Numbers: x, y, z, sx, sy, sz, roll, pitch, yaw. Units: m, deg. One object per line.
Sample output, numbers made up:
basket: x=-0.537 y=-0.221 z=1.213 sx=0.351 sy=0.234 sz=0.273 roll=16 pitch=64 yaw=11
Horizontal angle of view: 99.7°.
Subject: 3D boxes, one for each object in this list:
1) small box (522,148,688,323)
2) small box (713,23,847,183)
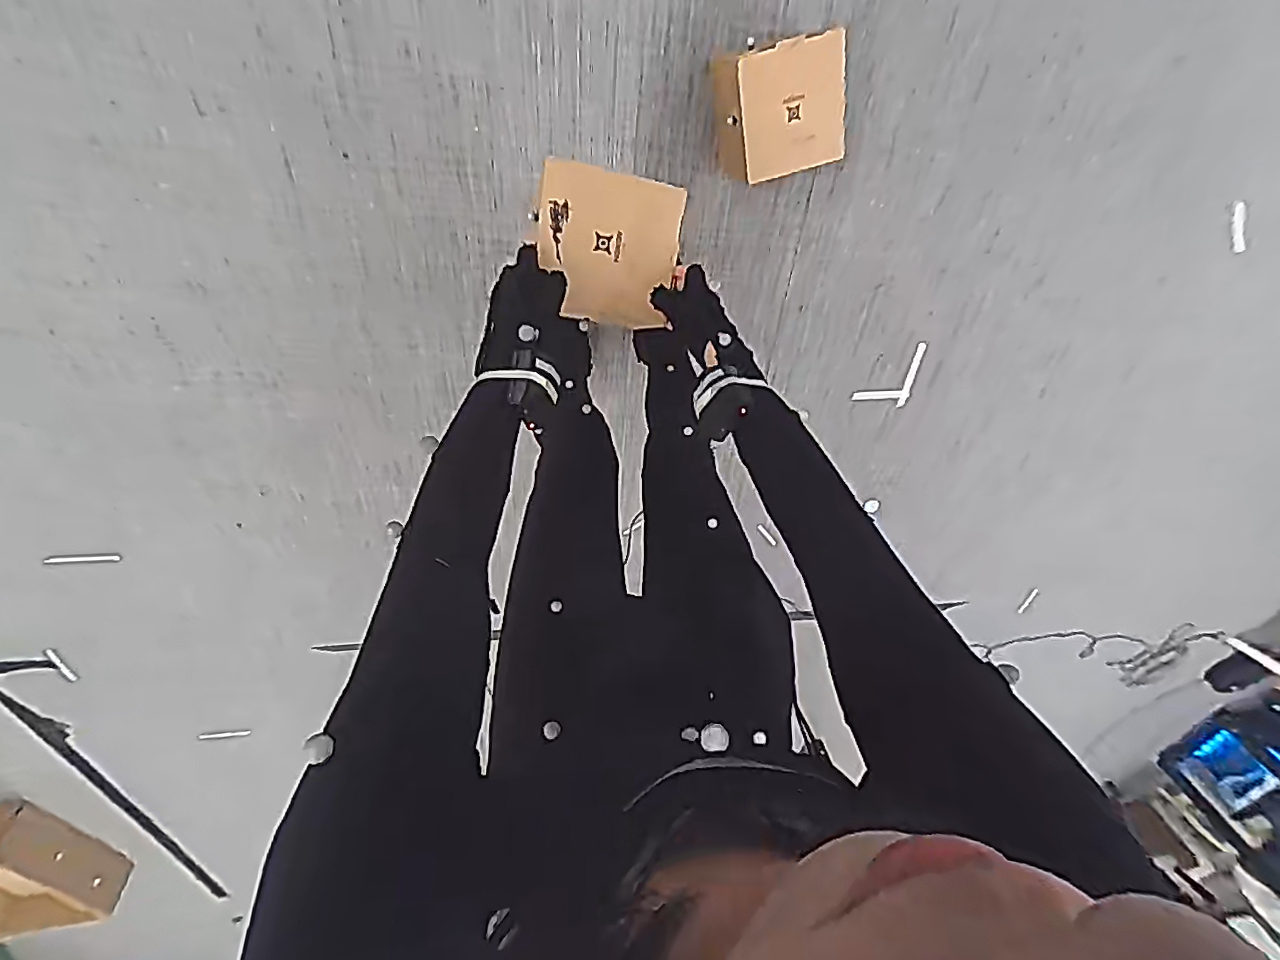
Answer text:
small box: x=-0.056 y=-0.308 z=0.722 sx=0.179 sy=0.176 sz=0.168 roll=5 pitch=103 yaw=-16
small box: x=0.227 y=-0.621 z=0.897 sx=0.168 sy=0.176 sz=0.179 roll=-16 pitch=128 yaw=2
